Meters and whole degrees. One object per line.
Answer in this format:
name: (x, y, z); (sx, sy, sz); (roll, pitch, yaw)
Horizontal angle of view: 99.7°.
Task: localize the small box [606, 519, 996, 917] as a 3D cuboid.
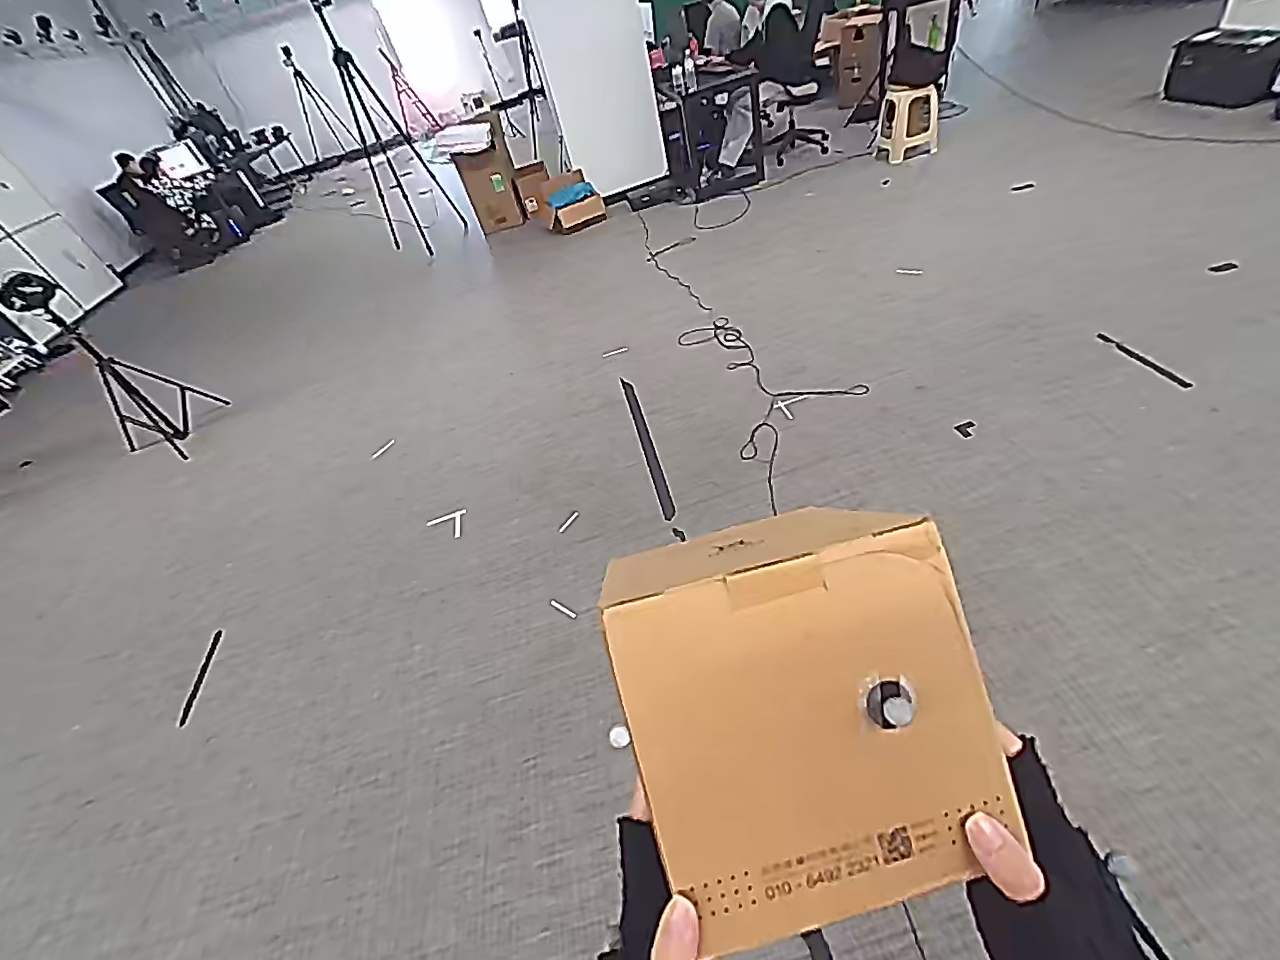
small box: (0.082, 0.131, 0.346); (0.168, 0.176, 0.179); (-15, -2, -1)
